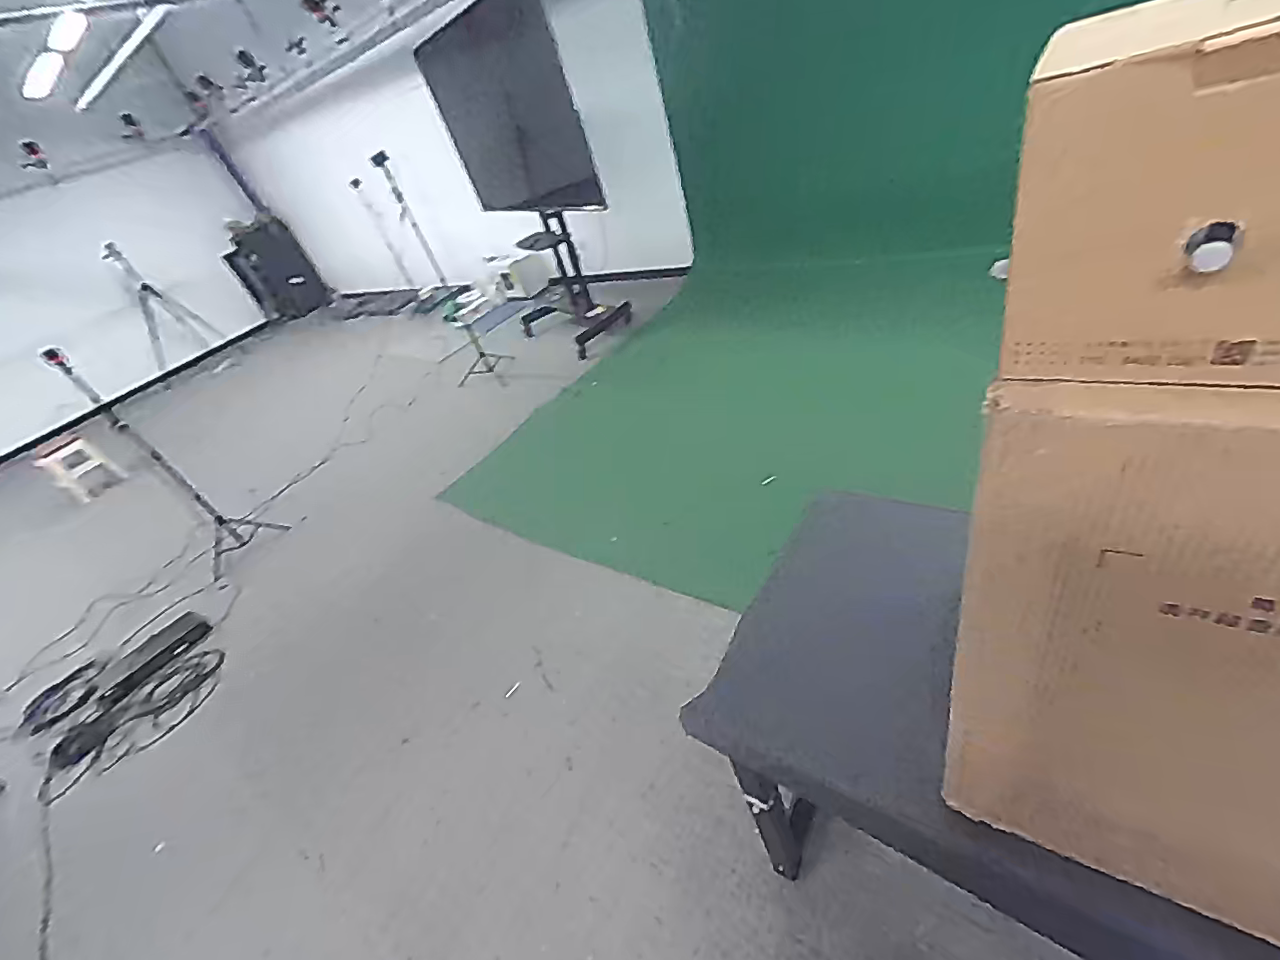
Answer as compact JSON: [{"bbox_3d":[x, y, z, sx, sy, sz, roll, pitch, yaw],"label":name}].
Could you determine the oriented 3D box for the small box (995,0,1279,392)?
[{"bbox_3d":[0.322,-0.166,0.318,0.168,0.176,0.179,10,46,35],"label":"small box"}]
